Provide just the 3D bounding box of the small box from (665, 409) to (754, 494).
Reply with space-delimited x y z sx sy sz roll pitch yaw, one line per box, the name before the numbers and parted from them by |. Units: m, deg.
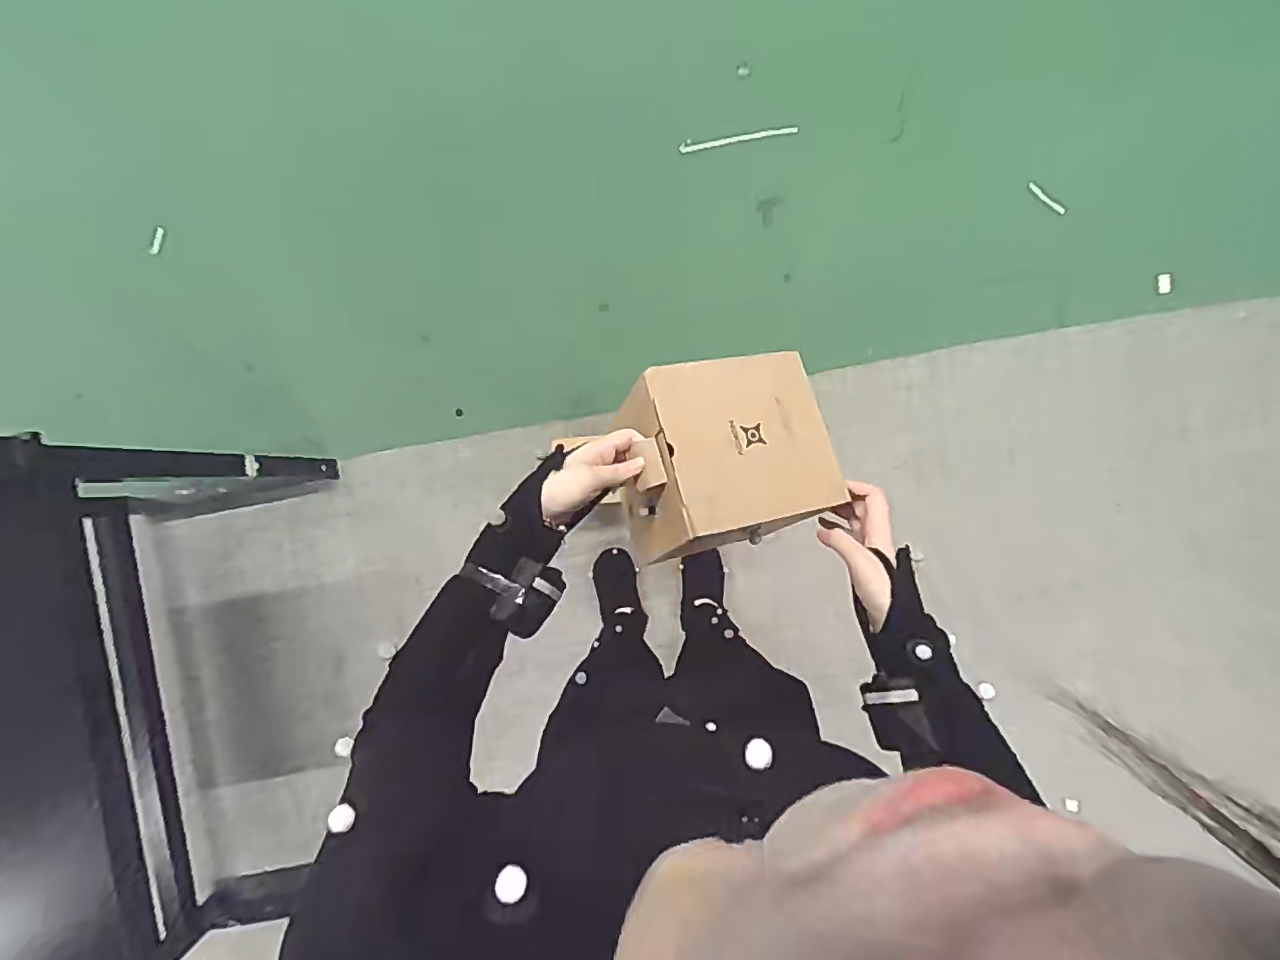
small box | 0.168 -0.066 1.351 0.179 0.176 0.168 -17 91 1
